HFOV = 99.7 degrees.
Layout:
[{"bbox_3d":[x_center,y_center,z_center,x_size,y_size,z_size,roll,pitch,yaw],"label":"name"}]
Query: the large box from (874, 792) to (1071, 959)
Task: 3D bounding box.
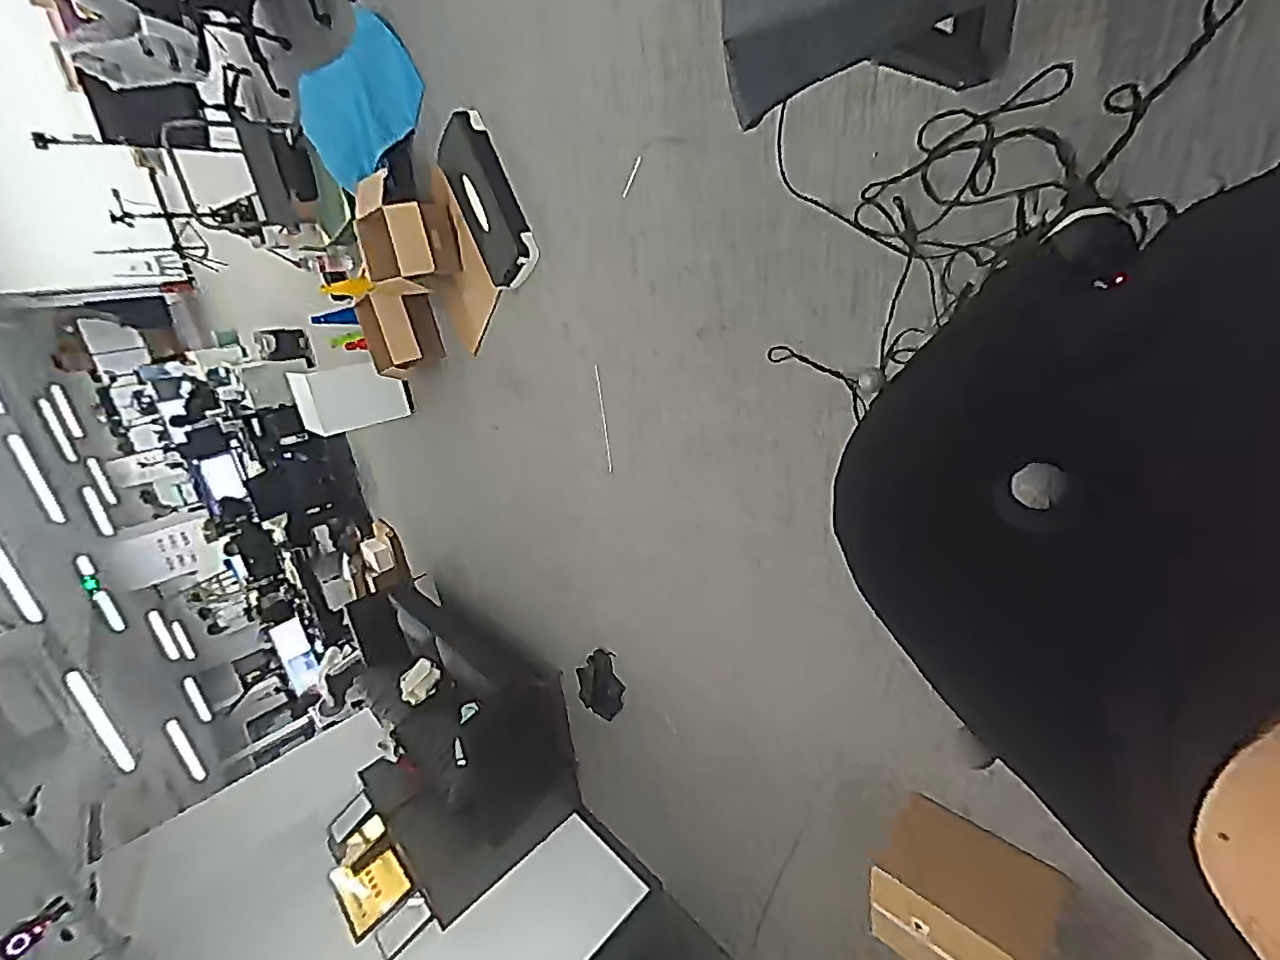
[{"bbox_3d":[0.941,1.213,1.550,0.408,0.320,0.320,14,119,47],"label":"large box"}]
